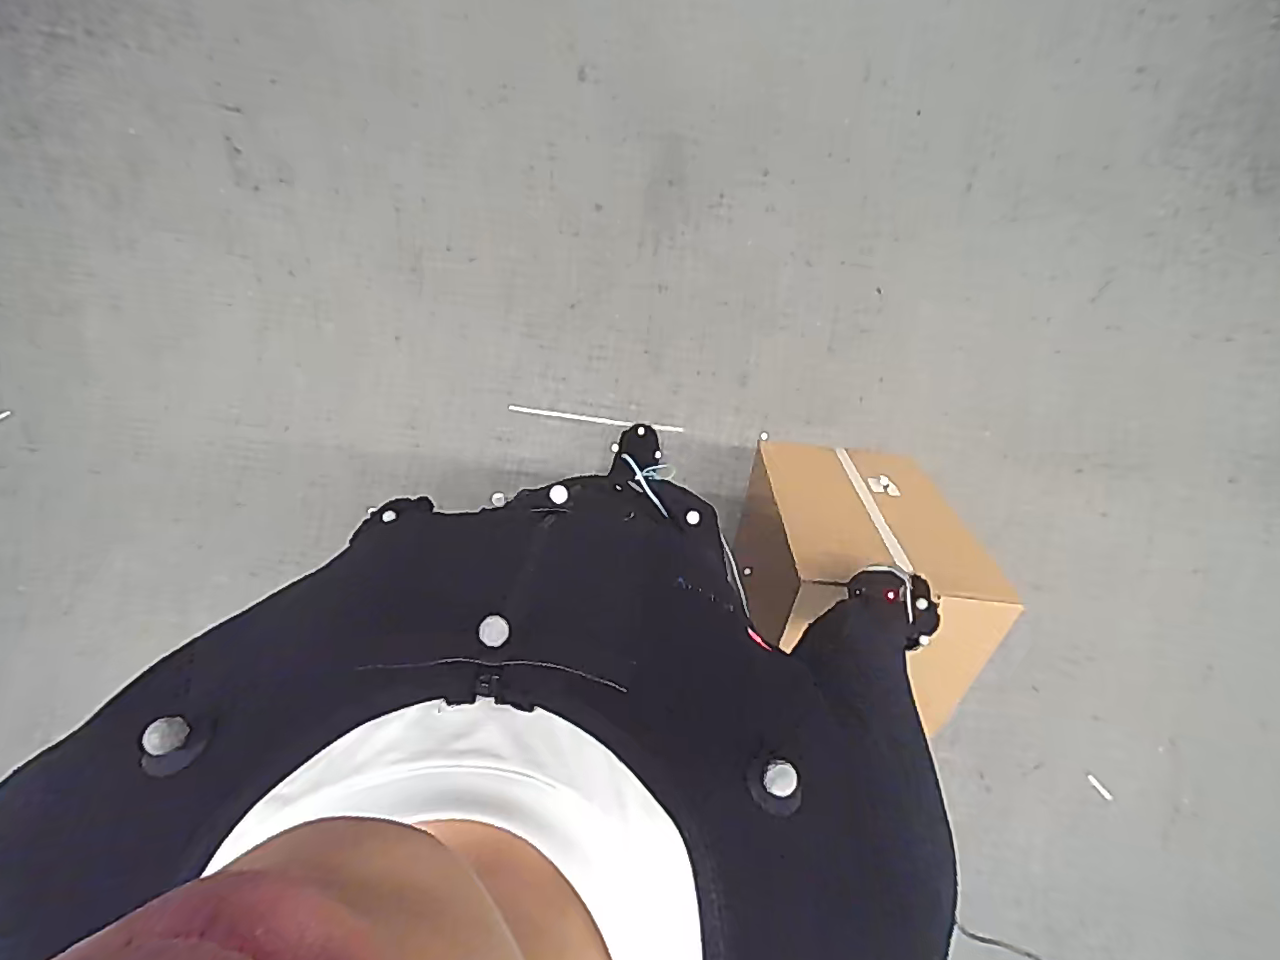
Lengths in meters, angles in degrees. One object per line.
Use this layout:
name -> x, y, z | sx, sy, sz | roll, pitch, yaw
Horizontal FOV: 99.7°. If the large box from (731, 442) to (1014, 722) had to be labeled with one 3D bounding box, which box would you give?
large box -> 0.363, 0.169, 0.991 | 0.320, 0.408, 0.320 | 7, 121, -2
